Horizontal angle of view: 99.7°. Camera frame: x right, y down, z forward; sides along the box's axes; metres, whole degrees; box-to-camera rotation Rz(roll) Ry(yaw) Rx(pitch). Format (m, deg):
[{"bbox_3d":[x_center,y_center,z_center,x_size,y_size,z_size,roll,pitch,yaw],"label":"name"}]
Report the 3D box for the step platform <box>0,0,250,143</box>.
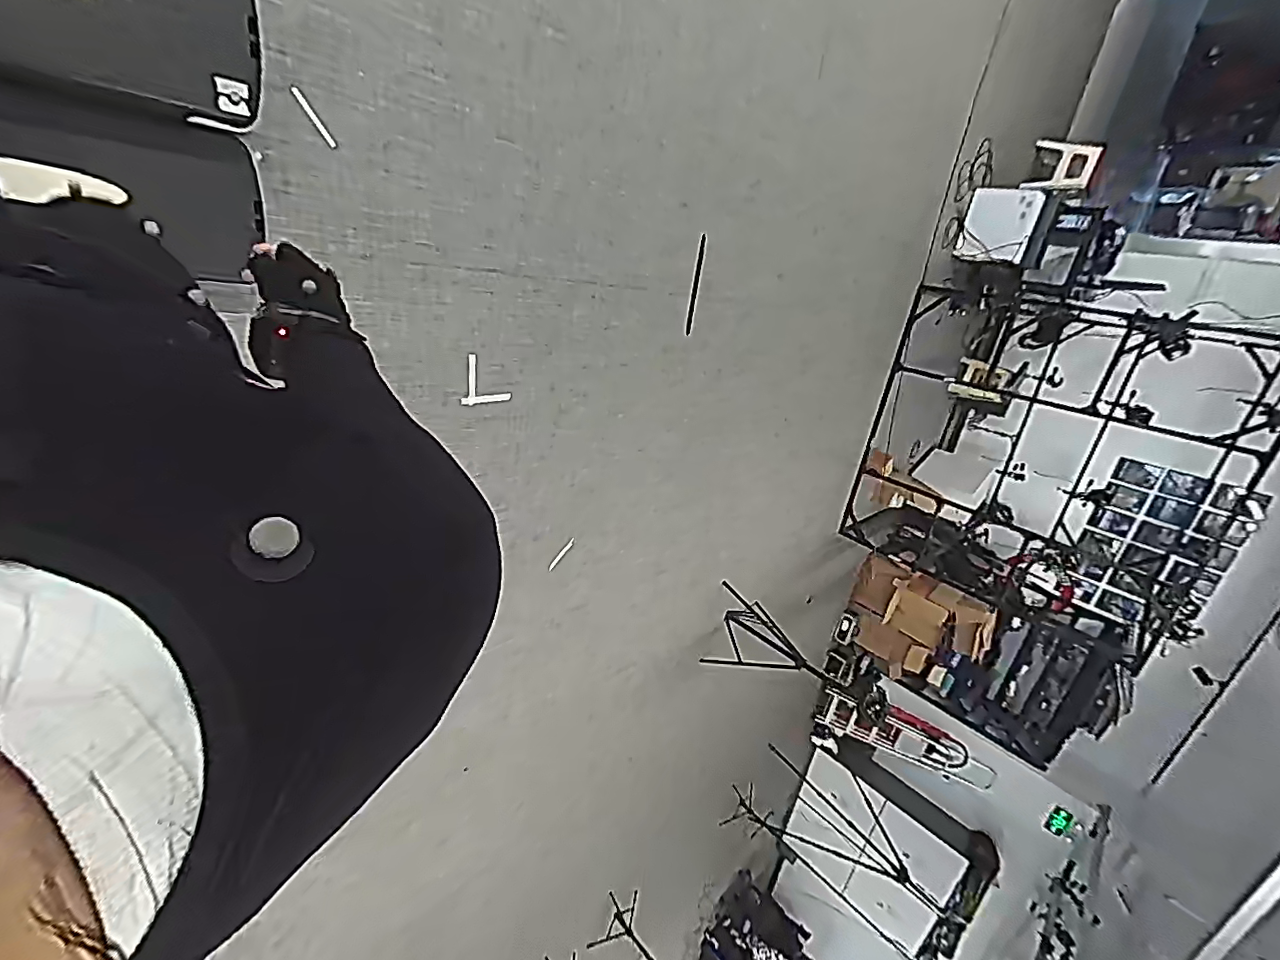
[{"bbox_3d":[-0.976,-0.722,0.768,0.684,0.204,0.286,-15,123,-44],"label":"step platform"}]
